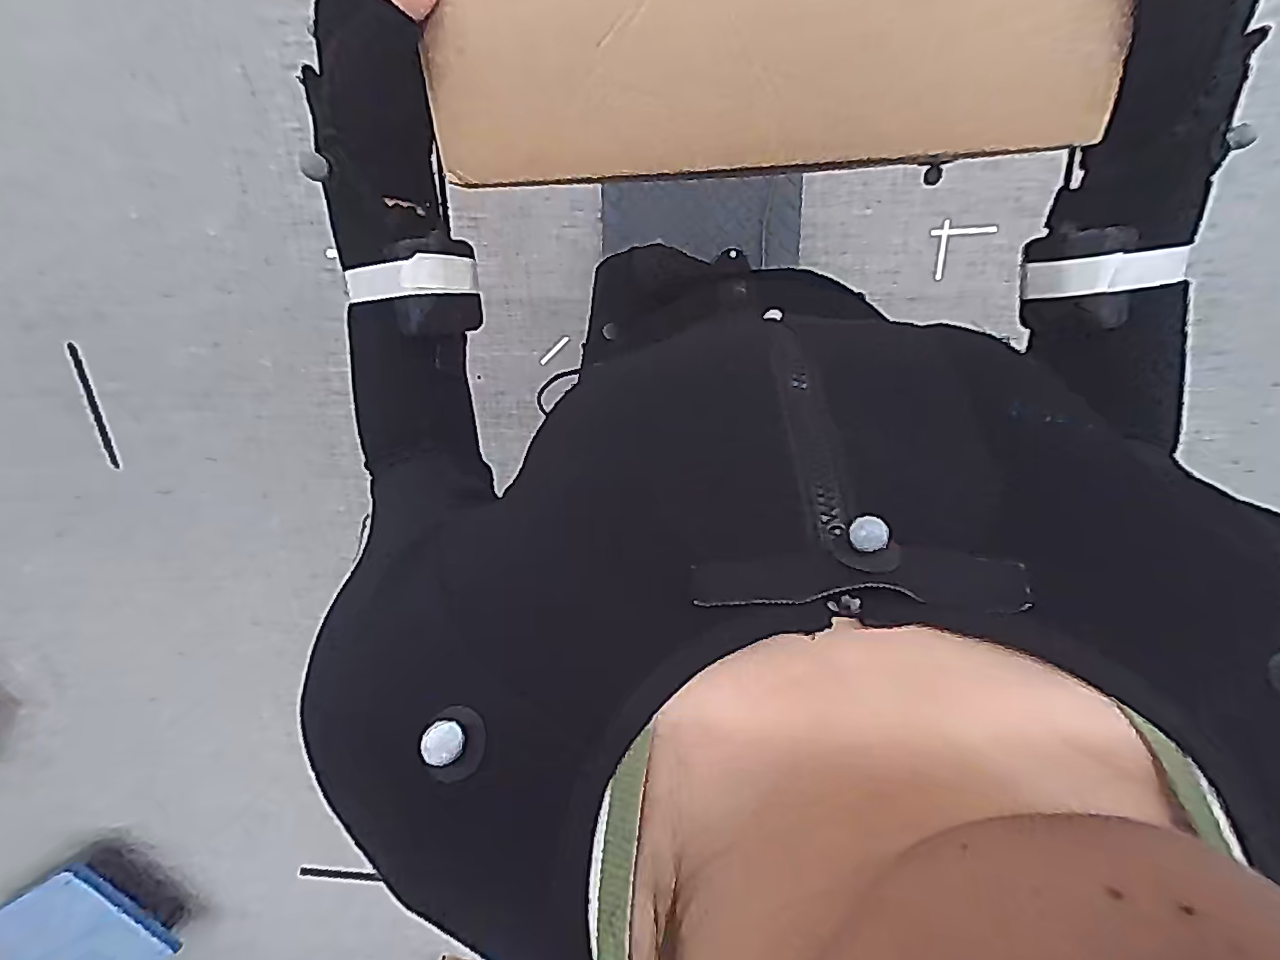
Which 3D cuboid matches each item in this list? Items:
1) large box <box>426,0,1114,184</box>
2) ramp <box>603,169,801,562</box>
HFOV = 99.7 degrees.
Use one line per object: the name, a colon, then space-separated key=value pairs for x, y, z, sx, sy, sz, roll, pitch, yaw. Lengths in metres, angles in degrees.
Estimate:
large box: x=0.076 y=-0.416 z=0.407 sx=0.408 sy=0.320 sz=0.320 roll=-1 pitch=119 yaw=5
ramp: x=0.148 y=-0.270 z=1.417 sx=0.509 sy=0.206 sz=0.991 roll=0 pitch=109 yaw=6
